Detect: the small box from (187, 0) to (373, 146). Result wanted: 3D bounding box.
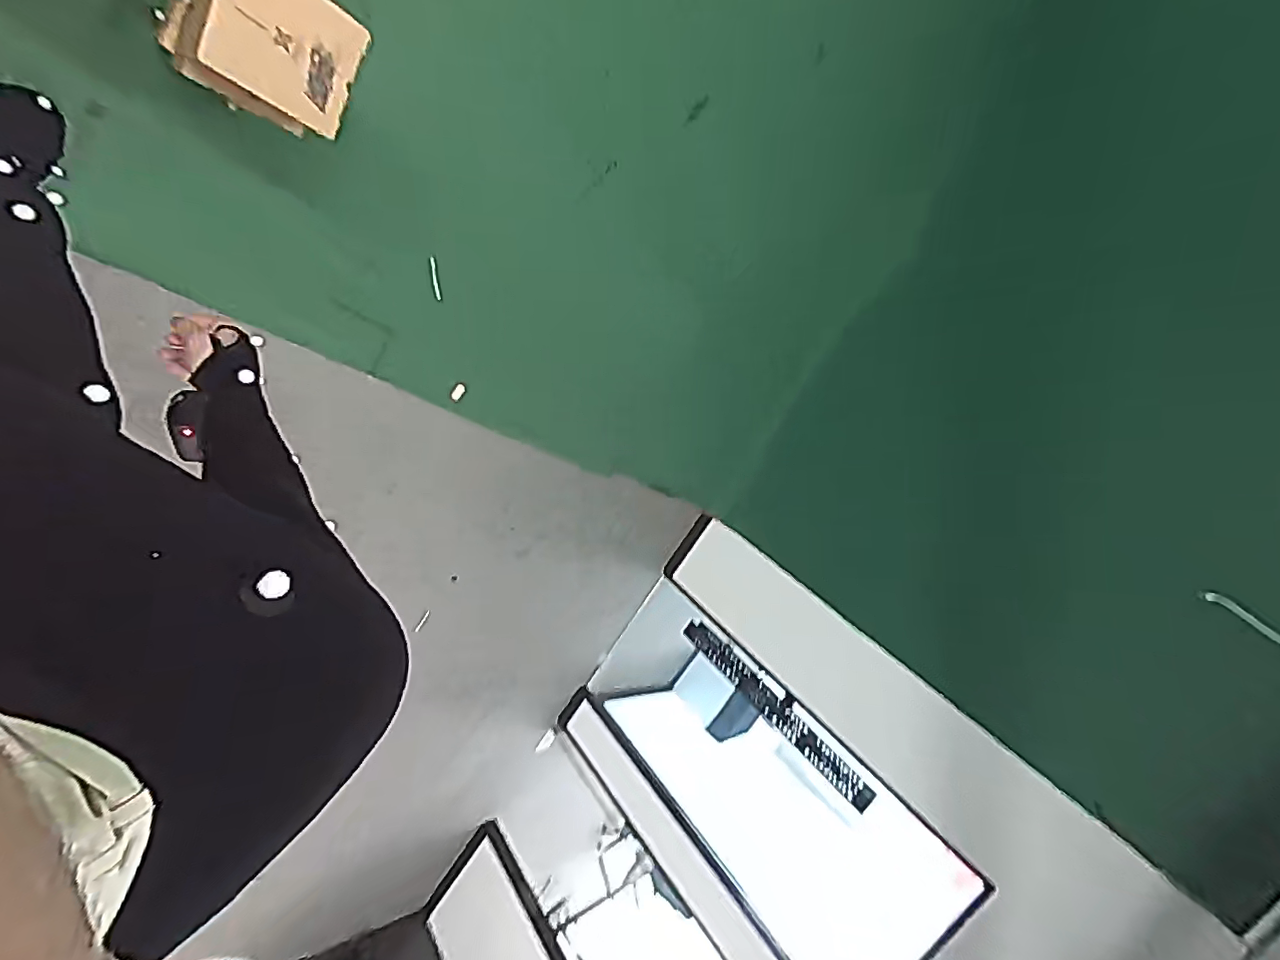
[{"bbox_3d":[-0.542,-0.646,0.811,0.179,0.176,0.168,14,111,-50],"label":"small box"}]

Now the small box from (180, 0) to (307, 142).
[{"bbox_3d":[-0.650,-0.718,0.914,0.168,0.176,0.179,11,115,-49],"label":"small box"}]
